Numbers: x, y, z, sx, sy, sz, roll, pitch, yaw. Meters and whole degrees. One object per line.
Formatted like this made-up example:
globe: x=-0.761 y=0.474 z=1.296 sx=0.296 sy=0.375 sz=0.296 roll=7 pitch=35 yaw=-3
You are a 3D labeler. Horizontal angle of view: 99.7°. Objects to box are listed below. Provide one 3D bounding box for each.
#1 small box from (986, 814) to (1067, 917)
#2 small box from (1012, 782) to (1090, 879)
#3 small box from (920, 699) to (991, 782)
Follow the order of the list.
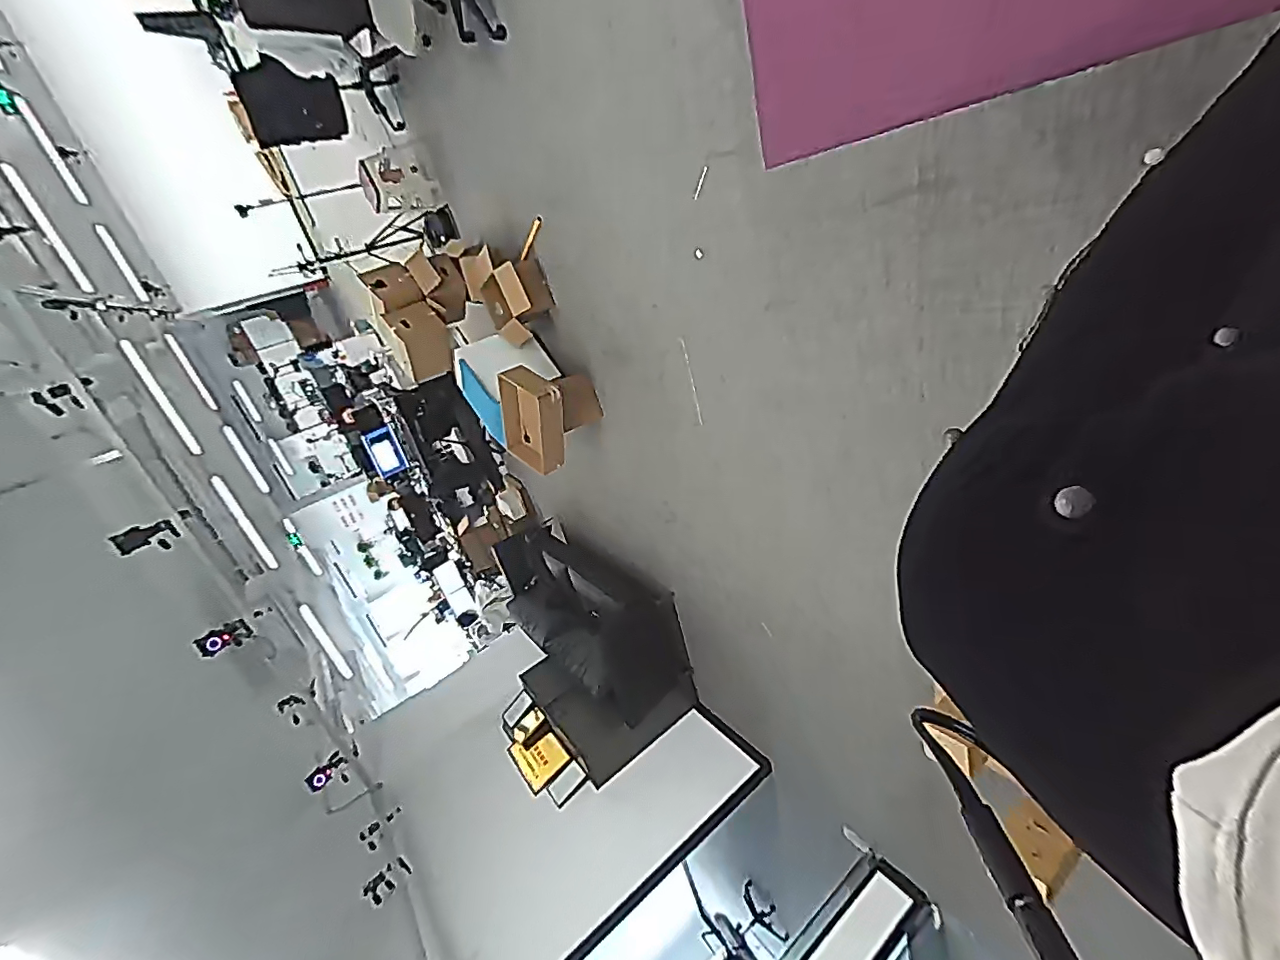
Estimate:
small box: x=1.239 y=1.229 z=1.736 sx=0.168 sy=0.176 sz=0.179 roll=19 pitch=133 yaw=53
small box: x=1.368 y=1.158 z=1.803 sx=0.168 sy=0.176 sz=0.179 roll=19 pitch=133 yaw=54
small box: x=1.149 y=0.938 z=1.965 sx=0.168 sy=0.176 sz=0.179 roll=17 pitch=130 yaw=56
